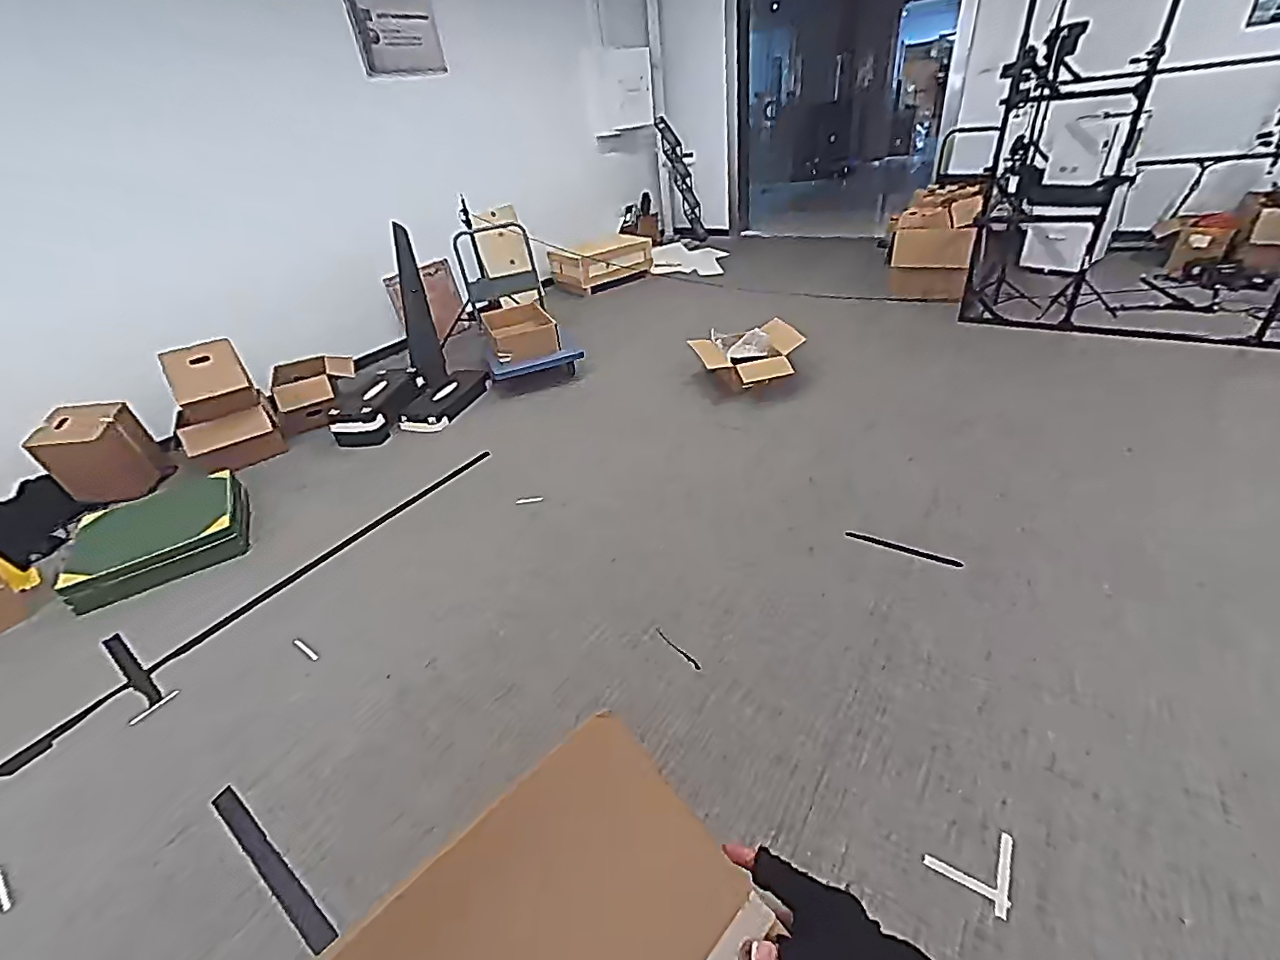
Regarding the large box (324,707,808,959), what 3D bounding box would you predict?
[{"bbox_3d":[-0.106,0.440,0.360,0.408,0.320,0.320,-33,74,-34],"label":"large box"}]
